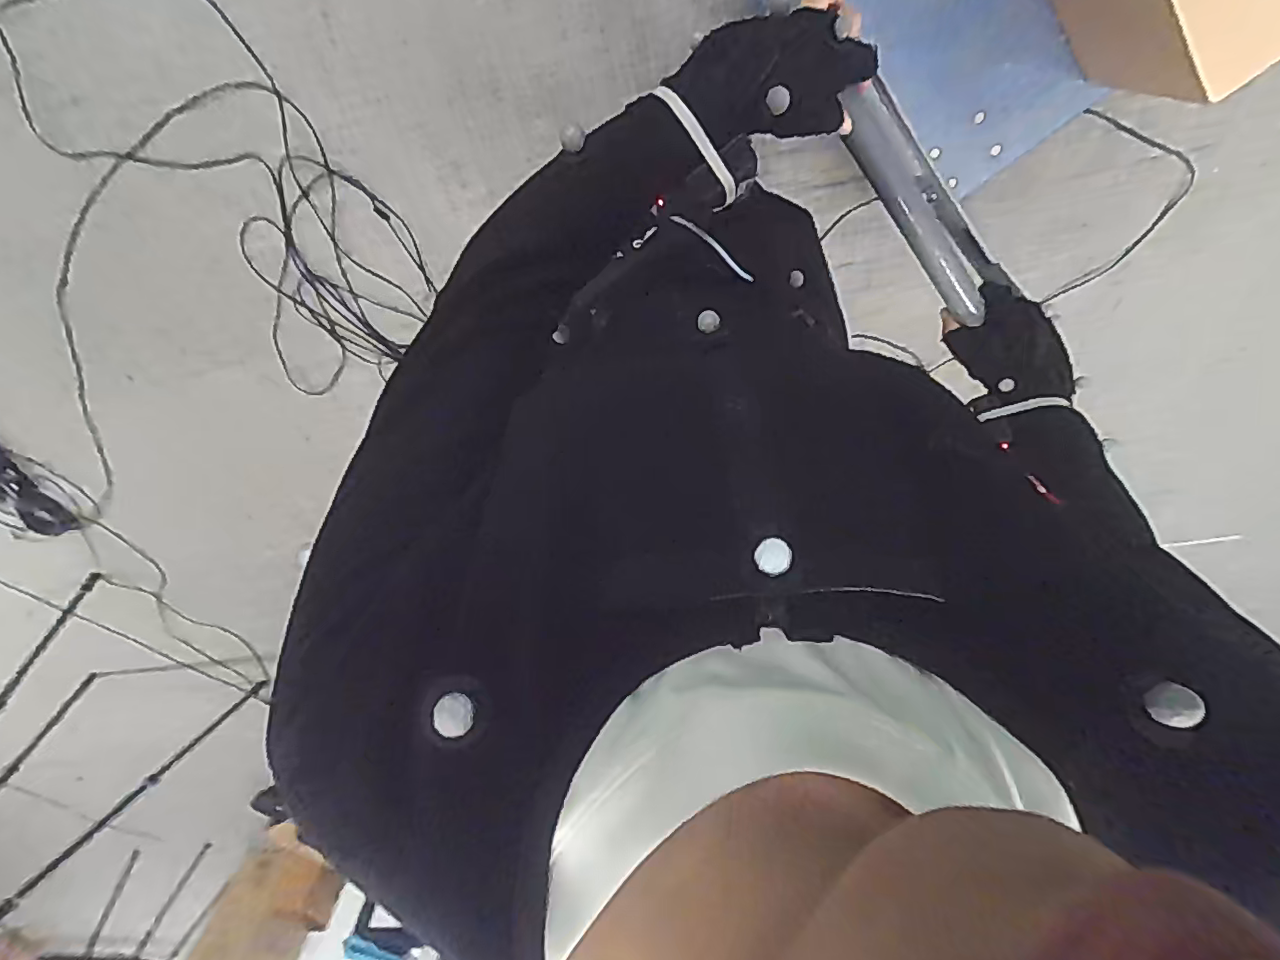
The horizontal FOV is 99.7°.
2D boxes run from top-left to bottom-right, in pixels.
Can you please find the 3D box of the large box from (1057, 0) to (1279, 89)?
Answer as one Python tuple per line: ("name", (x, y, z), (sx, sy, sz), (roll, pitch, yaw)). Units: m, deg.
("large box", (0.709, -0.787, 0.659), (0.408, 0.320, 0.320), (39, 126, -21))
